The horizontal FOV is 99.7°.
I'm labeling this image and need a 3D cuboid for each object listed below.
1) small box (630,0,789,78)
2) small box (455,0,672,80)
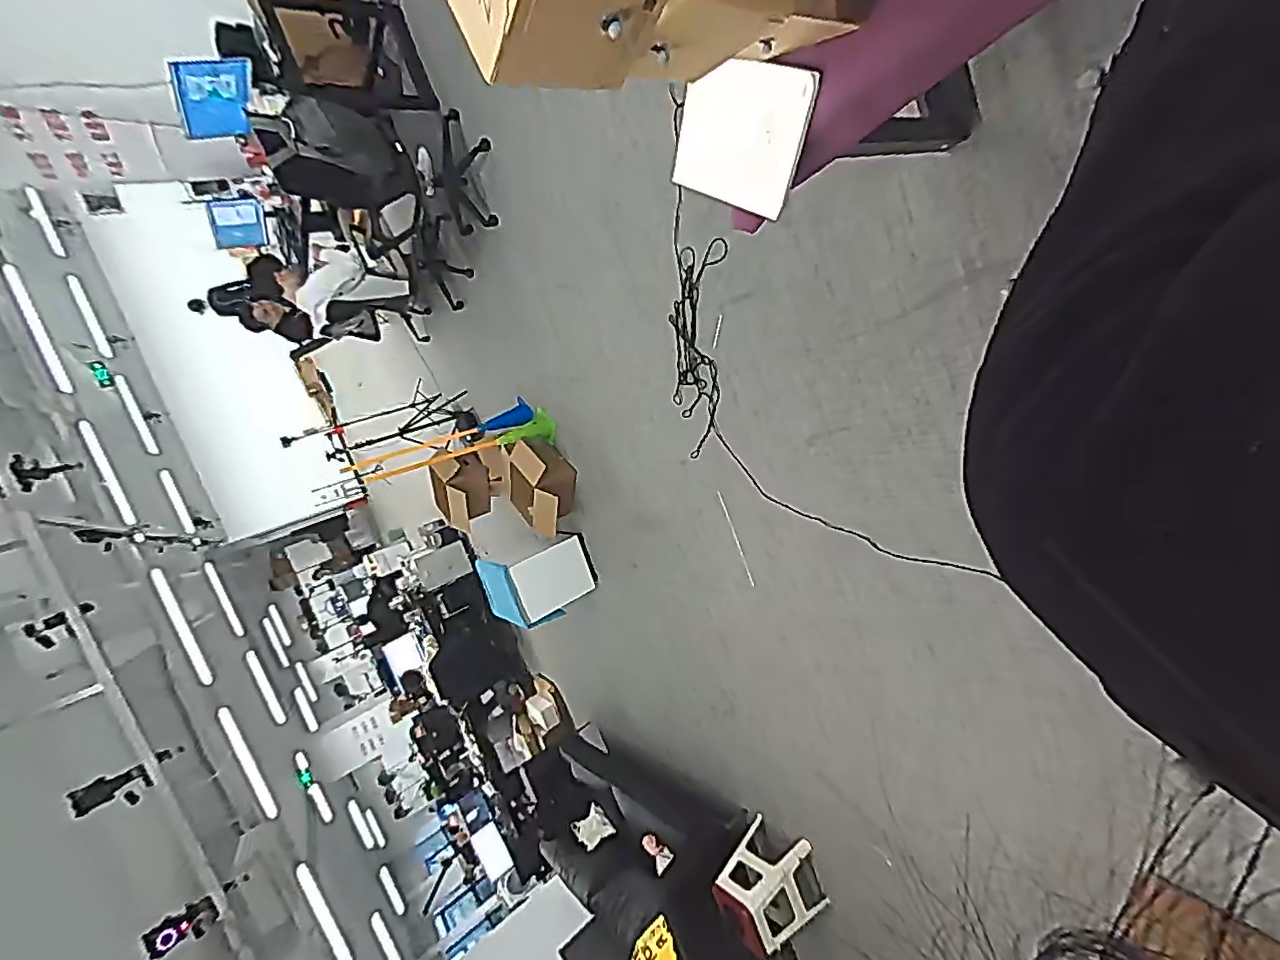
[{"bbox_3d":[0.052,-0.580,0.603,0.179,0.176,0.168,13,121,53],"label":"small box"},{"bbox_3d":[-0.079,-0.524,0.521,0.168,0.176,0.179,-25,89,59],"label":"small box"}]
